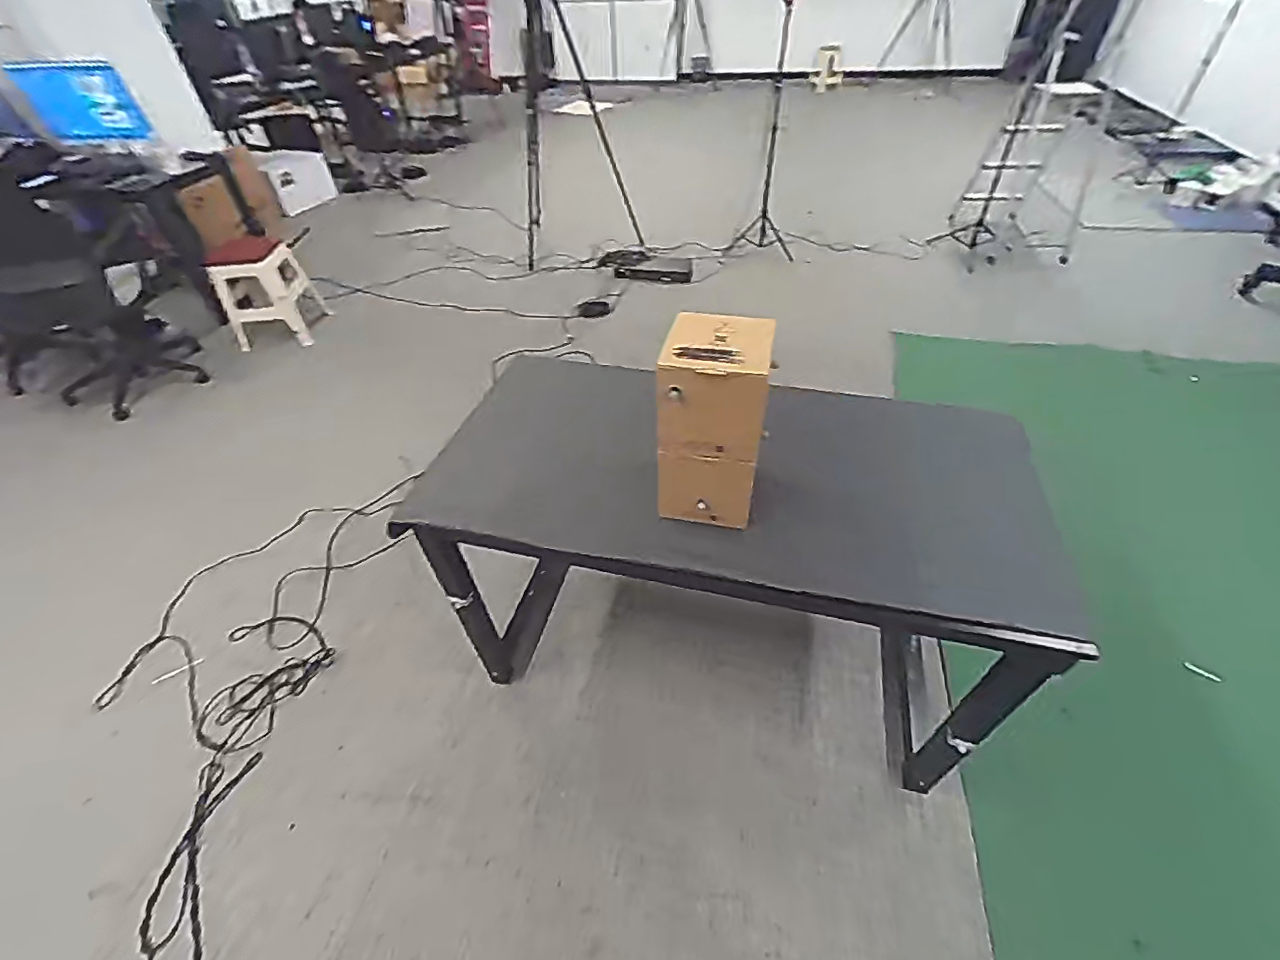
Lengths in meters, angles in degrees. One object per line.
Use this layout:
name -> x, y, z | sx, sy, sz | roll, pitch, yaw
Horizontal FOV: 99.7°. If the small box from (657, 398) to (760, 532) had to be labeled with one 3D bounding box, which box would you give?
small box -> 0.127, -0.030, 1.017 | 0.168, 0.176, 0.179 | 8, 45, 11
